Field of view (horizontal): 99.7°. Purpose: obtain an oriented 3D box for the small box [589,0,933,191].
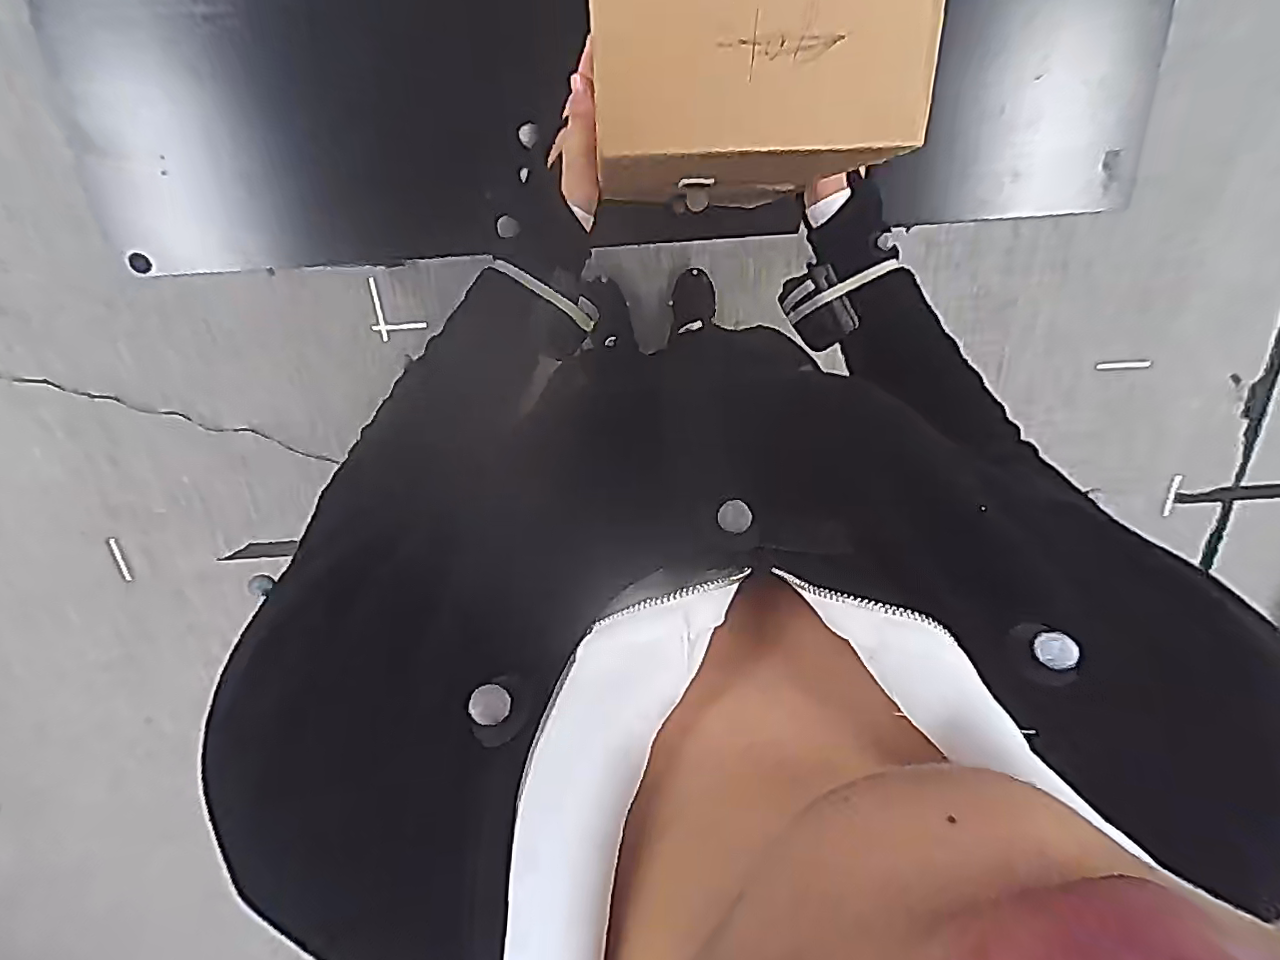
[{"bbox_3d":[0.053,-0.280,0.319,0.168,0.176,0.179,-3,114,-2],"label":"small box"}]
